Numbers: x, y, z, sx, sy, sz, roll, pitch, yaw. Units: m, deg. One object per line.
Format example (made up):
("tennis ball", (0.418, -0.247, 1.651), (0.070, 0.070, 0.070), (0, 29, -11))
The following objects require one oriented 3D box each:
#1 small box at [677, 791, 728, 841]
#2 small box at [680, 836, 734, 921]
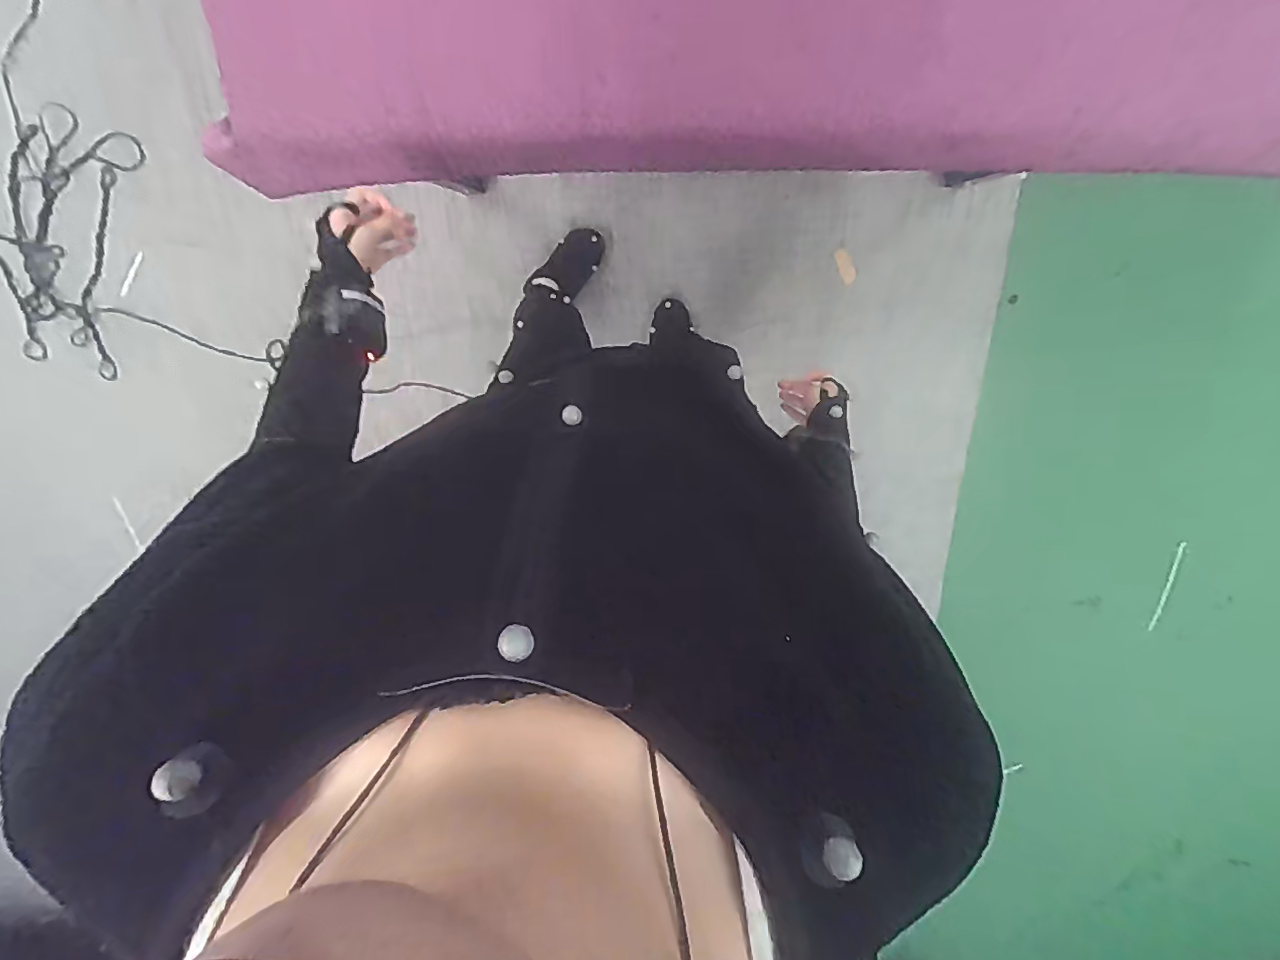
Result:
("small box", (0.221, 1.237, 1.927), (0.168, 0.176, 0.179), (-3, 112, 4))
("small box", (0.217, 1.303, 1.775), (0.168, 0.176, 0.179), (-3, 112, 4))
